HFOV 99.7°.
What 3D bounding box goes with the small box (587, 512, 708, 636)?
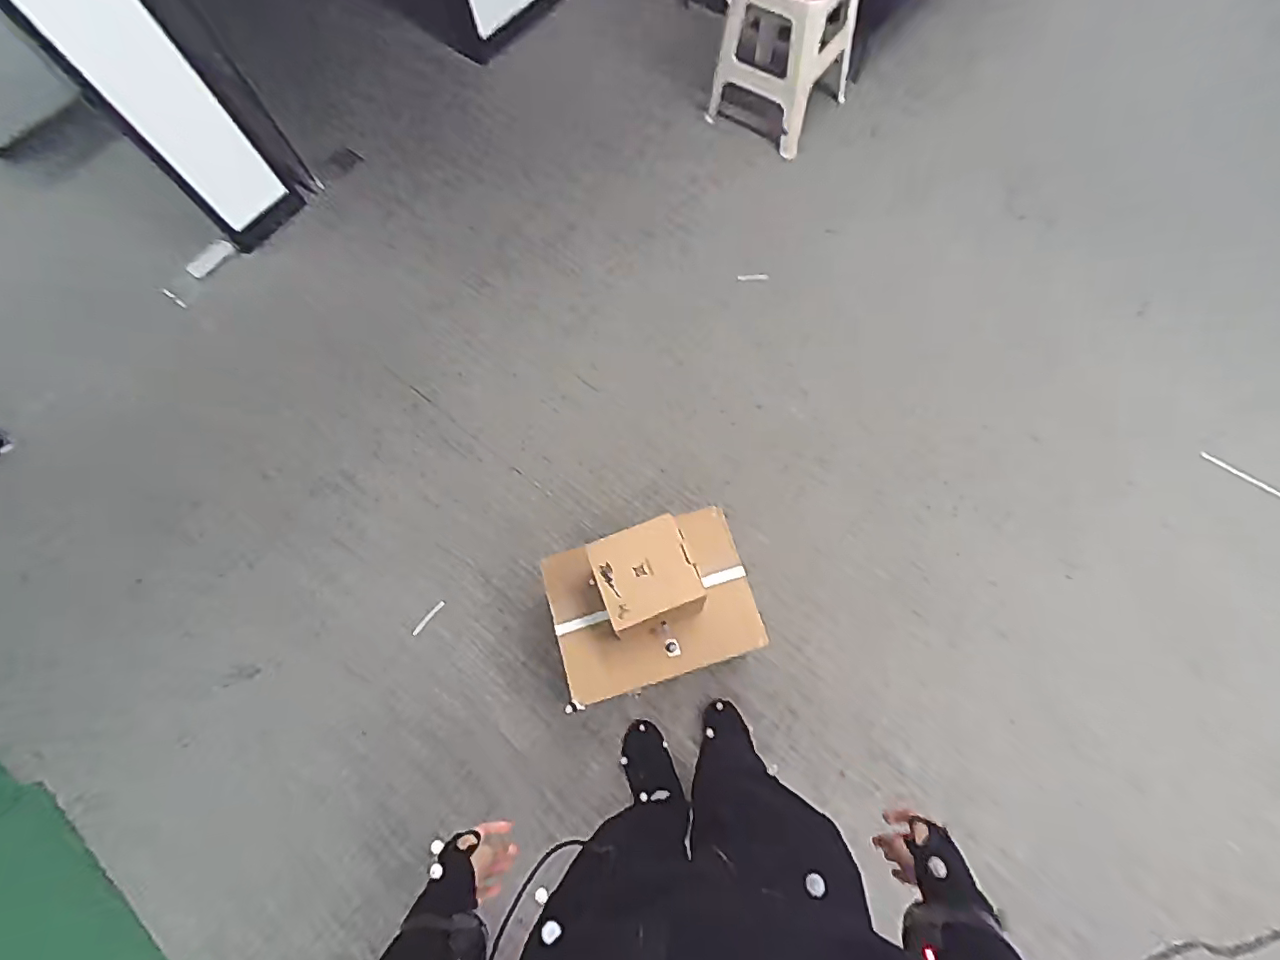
[{"bbox_3d":[0.013,0.184,1.029,0.179,0.176,0.168,-20,68,-6],"label":"small box"}]
